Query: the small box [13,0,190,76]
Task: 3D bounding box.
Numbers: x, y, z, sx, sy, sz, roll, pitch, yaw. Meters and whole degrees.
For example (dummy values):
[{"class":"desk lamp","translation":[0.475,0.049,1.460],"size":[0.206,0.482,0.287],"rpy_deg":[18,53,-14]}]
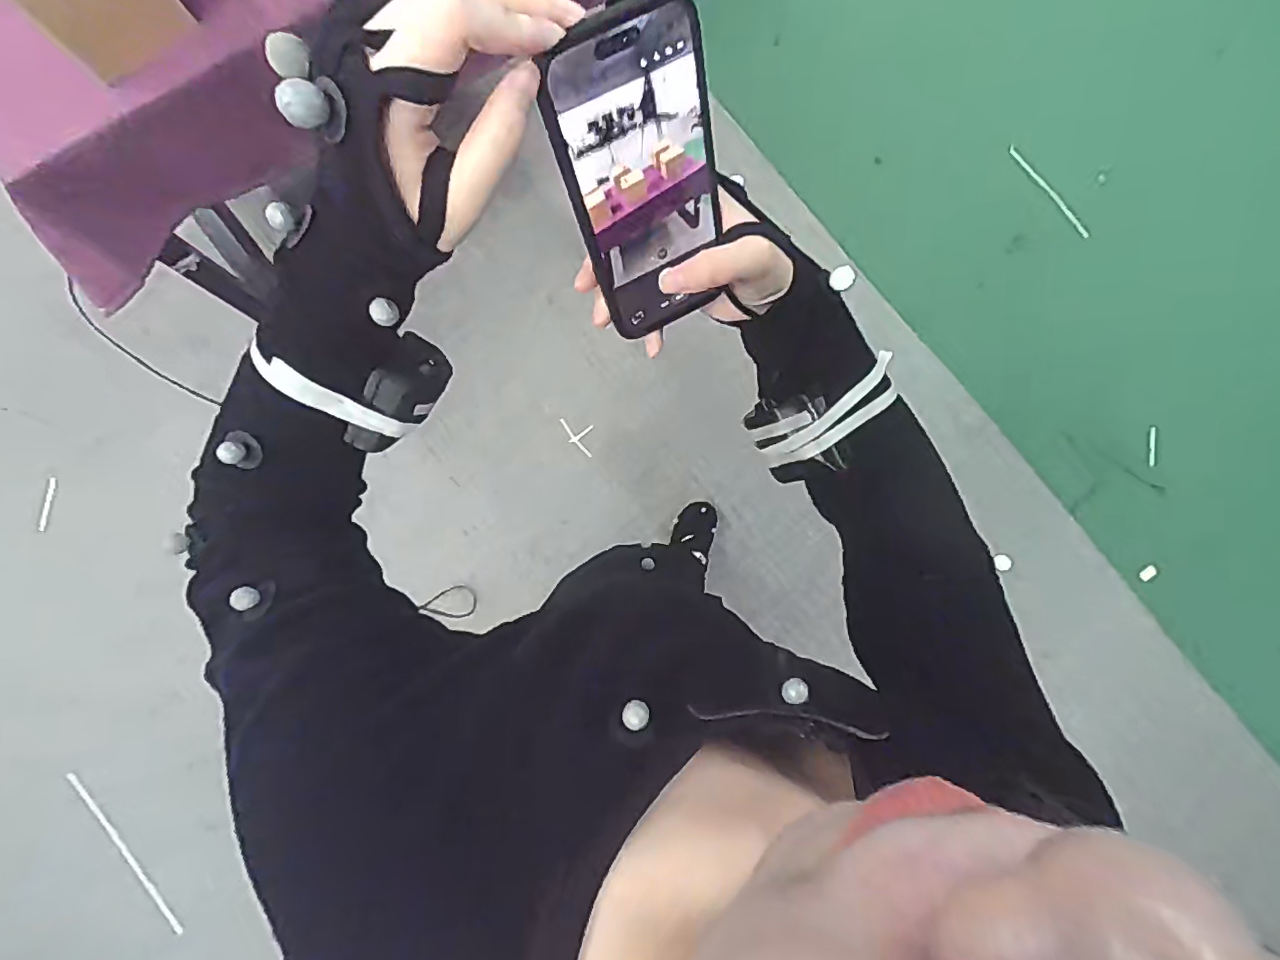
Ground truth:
[{"class":"small box","translation":[-0.795,-0.721,0.747],"size":[0.179,0.176,0.168],"rpy_deg":[-43,87,-8]}]
